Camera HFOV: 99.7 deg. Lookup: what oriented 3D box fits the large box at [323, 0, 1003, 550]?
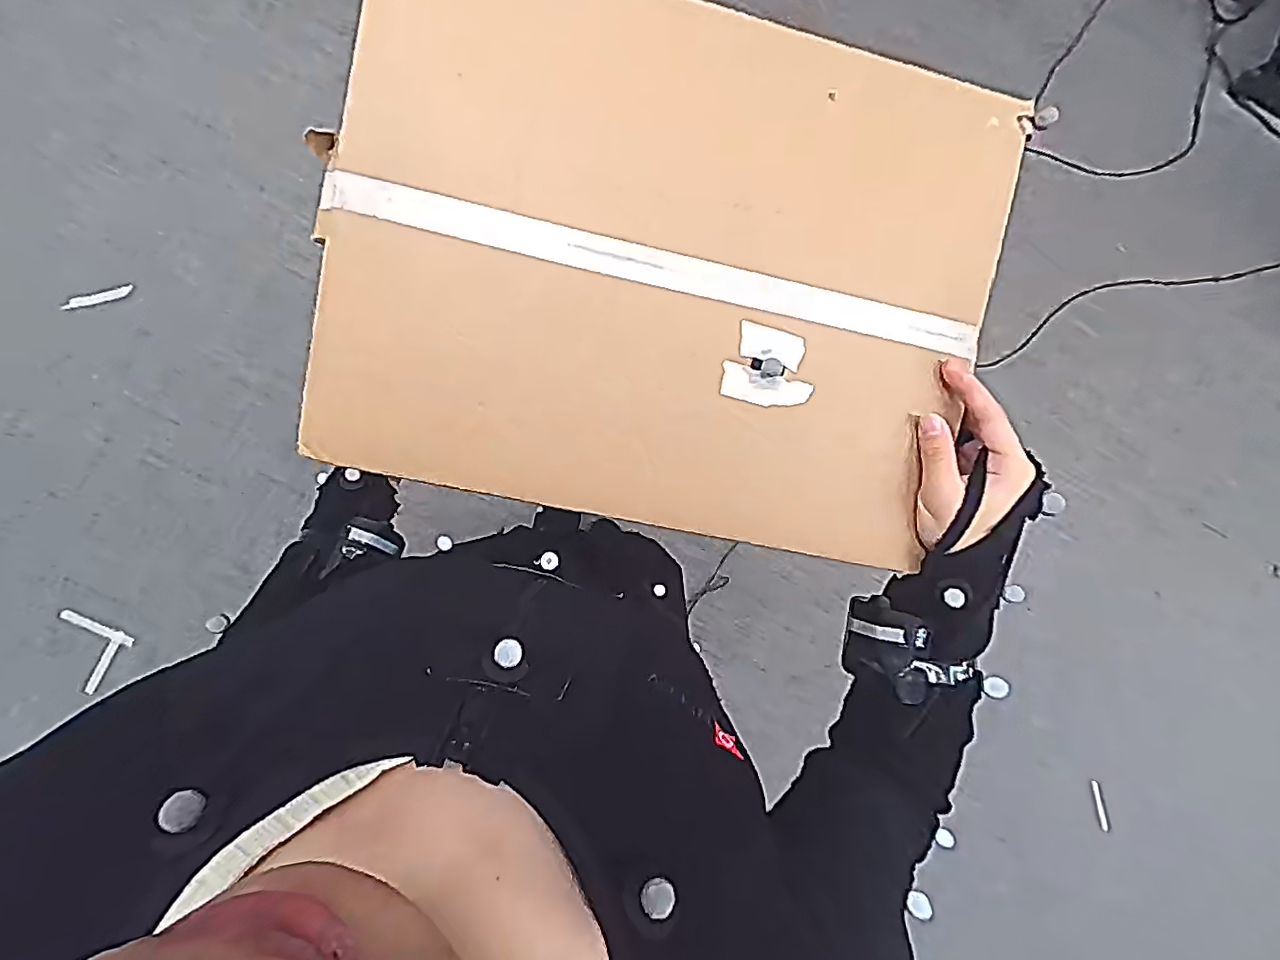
[{"bbox_3d":[0.005,-0.144,0.491,0.408,0.320,0.320,10,95,-8],"label":"large box"}]
